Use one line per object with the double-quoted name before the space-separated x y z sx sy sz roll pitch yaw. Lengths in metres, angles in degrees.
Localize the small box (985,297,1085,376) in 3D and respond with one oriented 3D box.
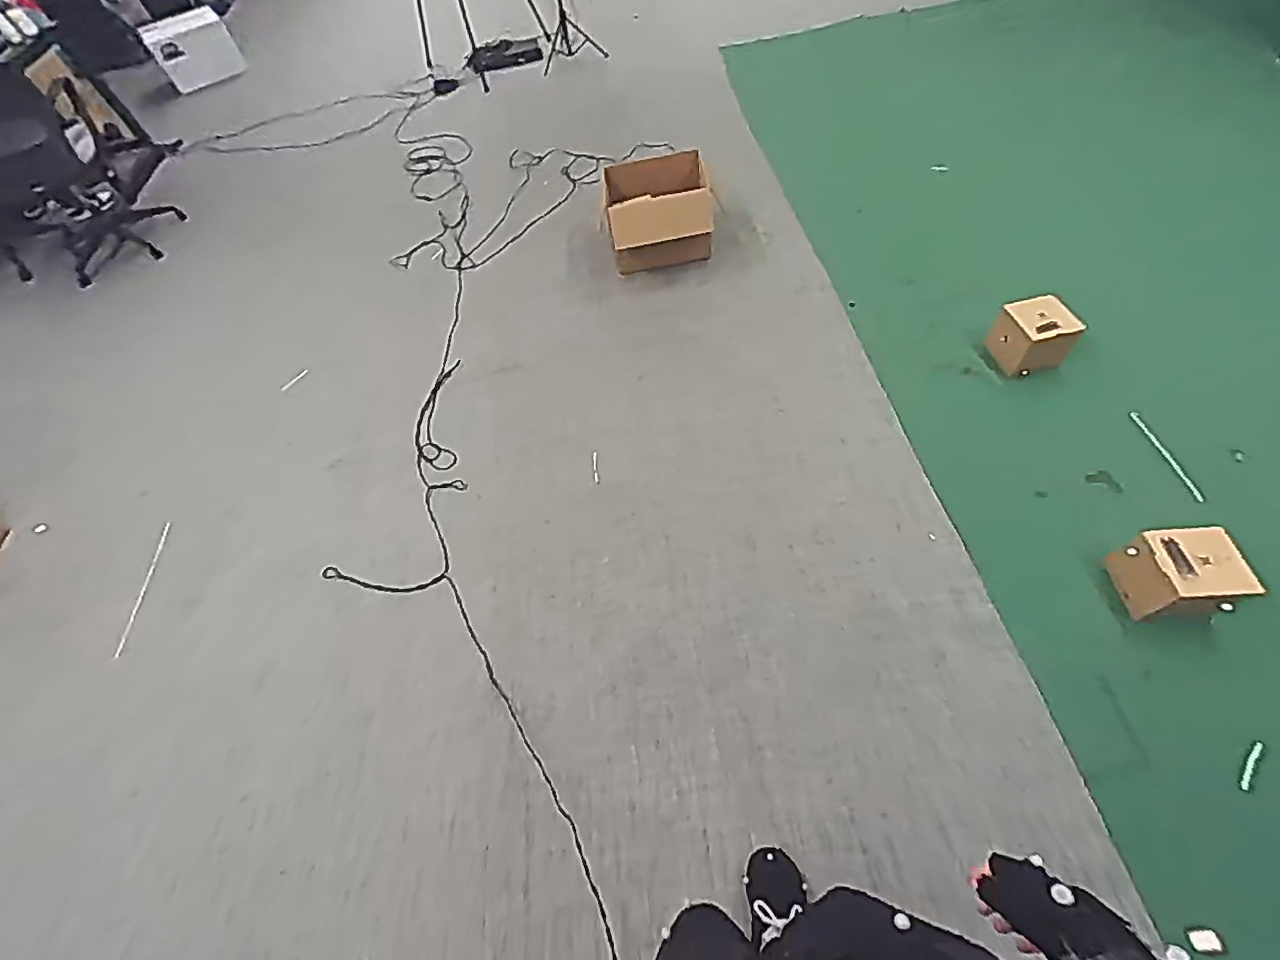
"small box" 1.262 -0.453 1.741 0.168 0.176 0.179 -12 55 1
